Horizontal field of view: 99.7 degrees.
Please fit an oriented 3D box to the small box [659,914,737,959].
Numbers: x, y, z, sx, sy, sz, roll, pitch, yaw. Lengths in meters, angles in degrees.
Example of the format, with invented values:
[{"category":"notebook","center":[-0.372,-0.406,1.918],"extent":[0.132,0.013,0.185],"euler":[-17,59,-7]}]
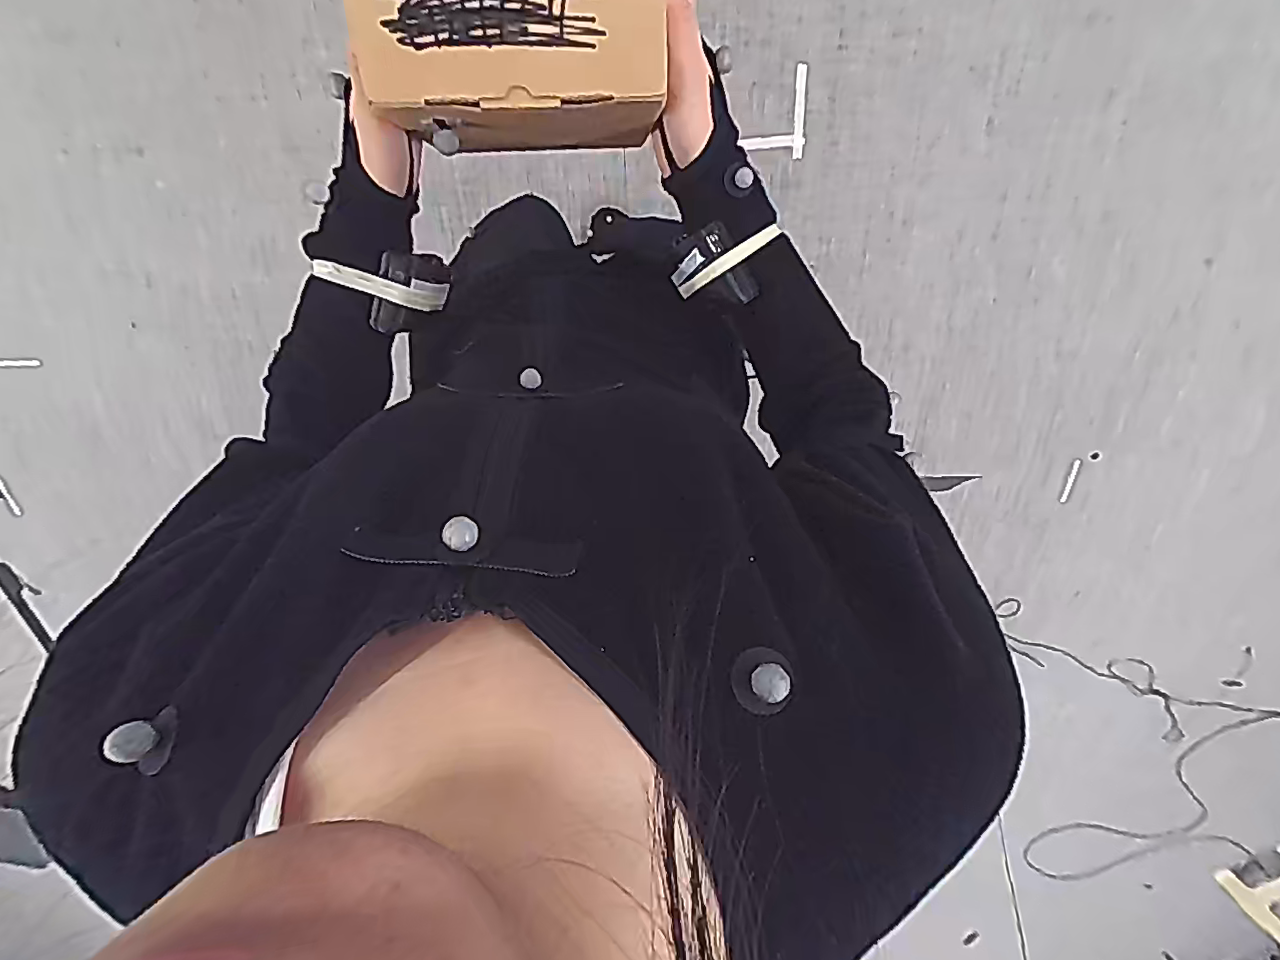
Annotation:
[{"category":"small box","center":[0.132,1.123,1.228],"extent":[0.179,0.176,0.168],"euler":[-4,118,1]}]
